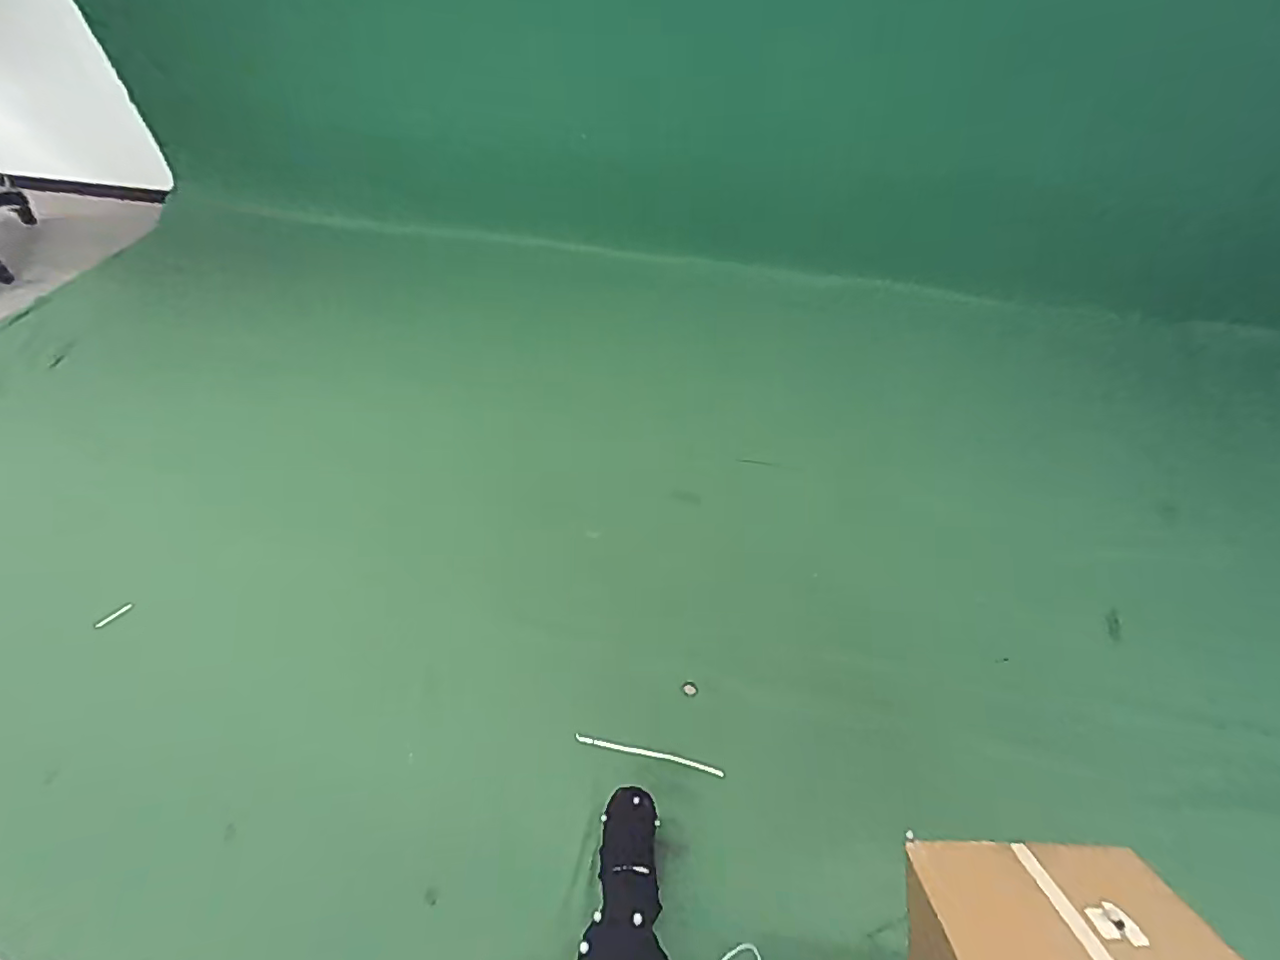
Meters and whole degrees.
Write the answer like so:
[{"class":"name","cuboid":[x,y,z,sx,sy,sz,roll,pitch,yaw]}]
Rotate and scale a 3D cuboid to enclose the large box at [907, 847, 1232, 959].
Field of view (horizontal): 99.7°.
[{"class":"large box","cuboid":[0.542,0.716,0.617,0.320,0.408,0.320,-2,94,8]}]
